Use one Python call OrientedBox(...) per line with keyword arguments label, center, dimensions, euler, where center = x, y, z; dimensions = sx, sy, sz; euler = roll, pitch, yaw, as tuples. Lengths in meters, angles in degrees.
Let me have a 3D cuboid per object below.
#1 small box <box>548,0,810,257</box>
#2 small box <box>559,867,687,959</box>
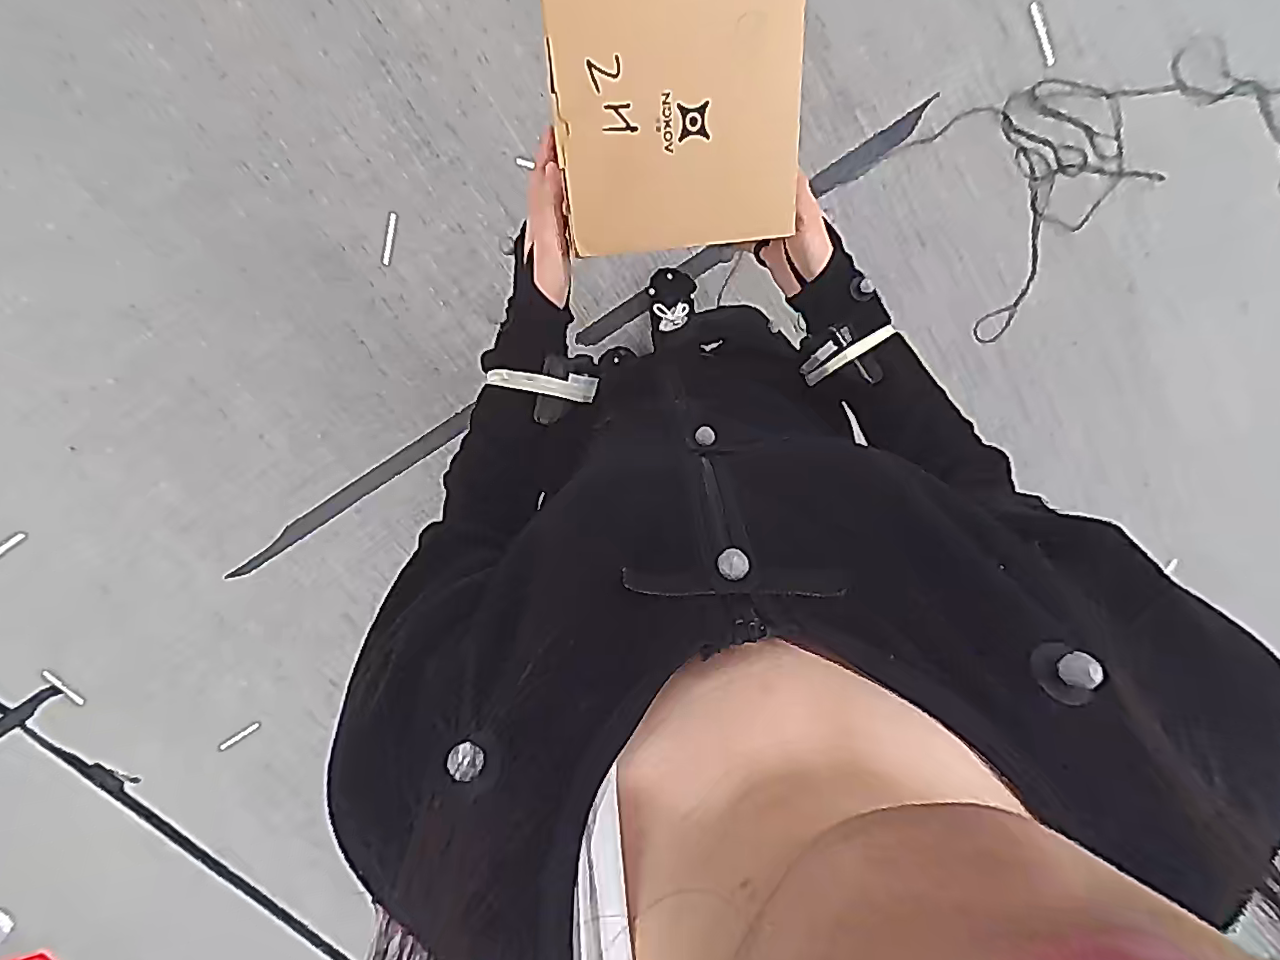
OrientedBox(label="small box", center=(0.021, -0.286, 0.449), dimensions=(0.179, 0.176, 0.168), euler=(-8, 116, -5))
OrientedBox(label="small box", center=(-0.024, 0.808, 0.909), dimensions=(0.168, 0.176, 0.179), euler=(-30, 106, 5))
